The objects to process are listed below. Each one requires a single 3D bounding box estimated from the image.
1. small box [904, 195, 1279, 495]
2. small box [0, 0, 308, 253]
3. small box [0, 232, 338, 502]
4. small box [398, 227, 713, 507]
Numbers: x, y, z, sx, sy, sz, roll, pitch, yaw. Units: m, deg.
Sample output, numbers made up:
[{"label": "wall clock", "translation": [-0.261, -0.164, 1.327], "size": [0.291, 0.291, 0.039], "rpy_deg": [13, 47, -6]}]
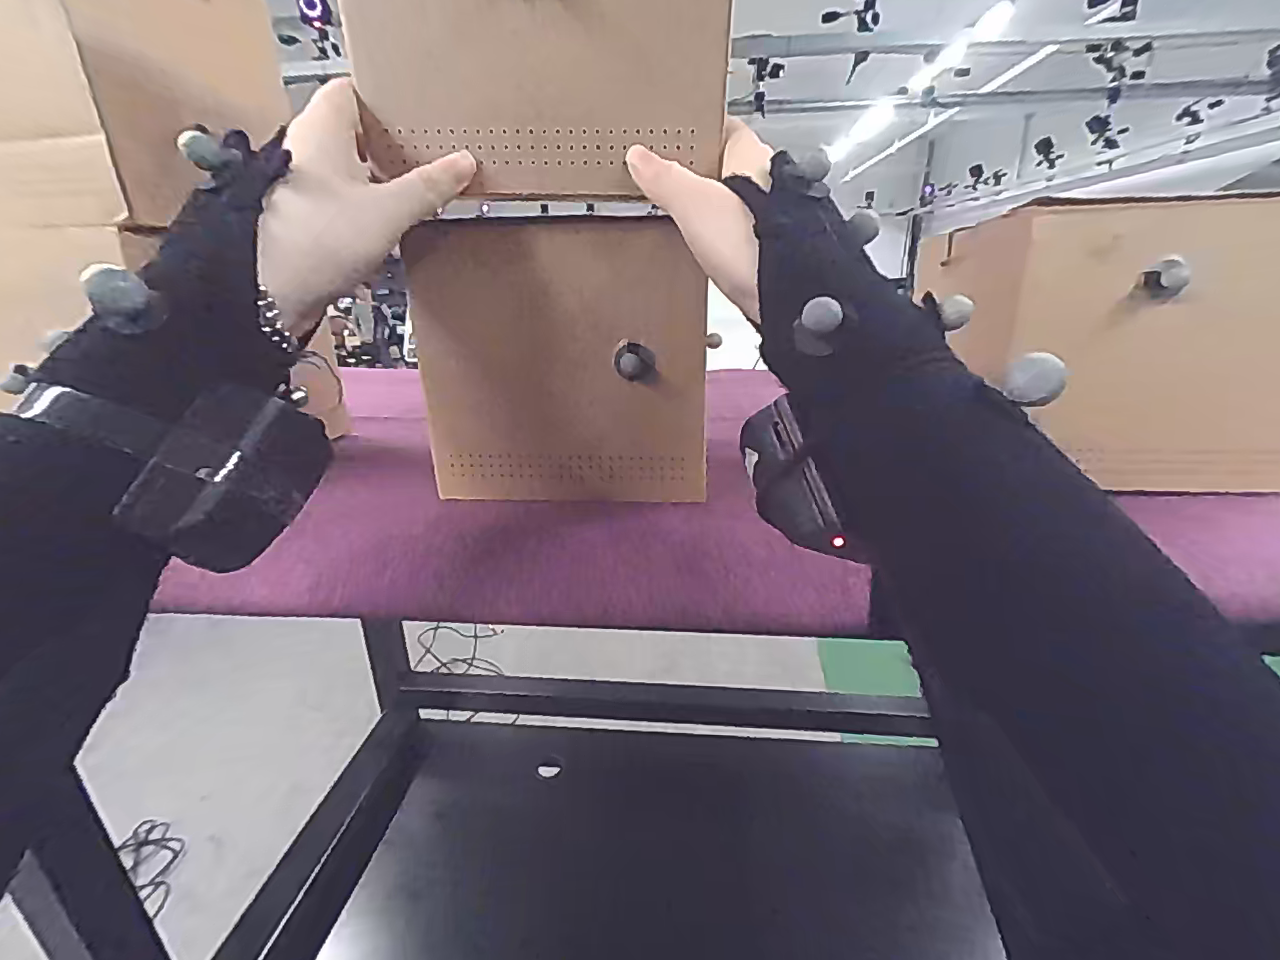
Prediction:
[{"label": "small box", "translation": [0.307, -0.092, 0.388], "size": [0.179, 0.176, 0.168], "rpy_deg": [1, 18, 6]}, {"label": "small box", "translation": [-0.363, -0.242, 0.355], "size": [0.179, 0.176, 0.168], "rpy_deg": [1, 21, 3]}, {"label": "small box", "translation": [-0.363, -0.090, 0.412], "size": [0.168, 0.176, 0.179], "rpy_deg": [2, 20, 3]}, {"label": "small box", "translation": [-0.041, -0.085, 0.395], "size": [0.179, 0.176, 0.168], "rpy_deg": [-1, 20, 4]}]
